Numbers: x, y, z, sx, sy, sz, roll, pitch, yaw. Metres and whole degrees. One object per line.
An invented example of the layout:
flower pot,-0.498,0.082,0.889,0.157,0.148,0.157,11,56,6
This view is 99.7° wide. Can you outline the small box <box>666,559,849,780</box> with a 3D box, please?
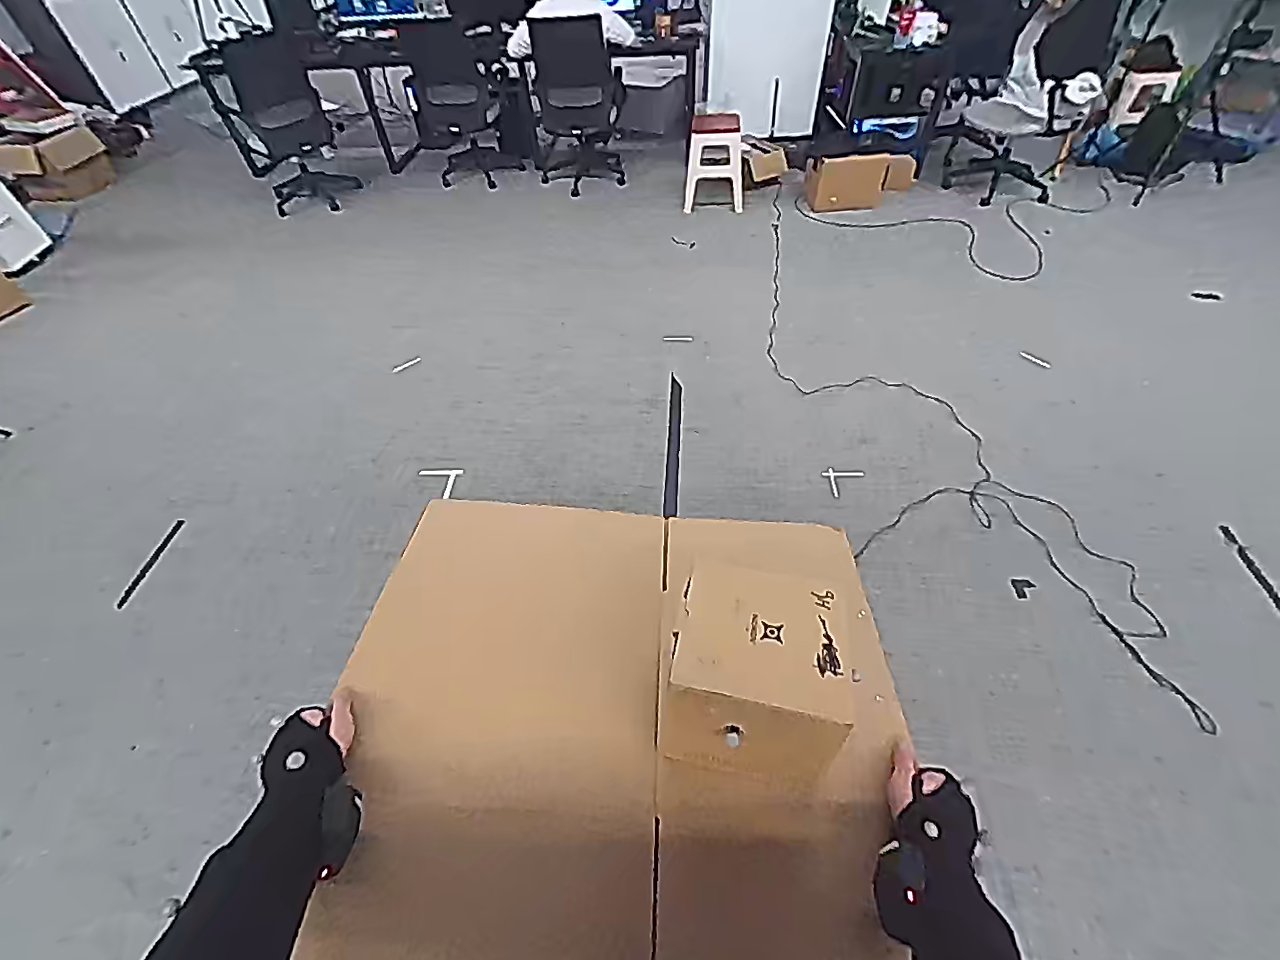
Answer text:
small box,0.130,0.218,0.625,0.179,0.176,0.168,8,42,11
